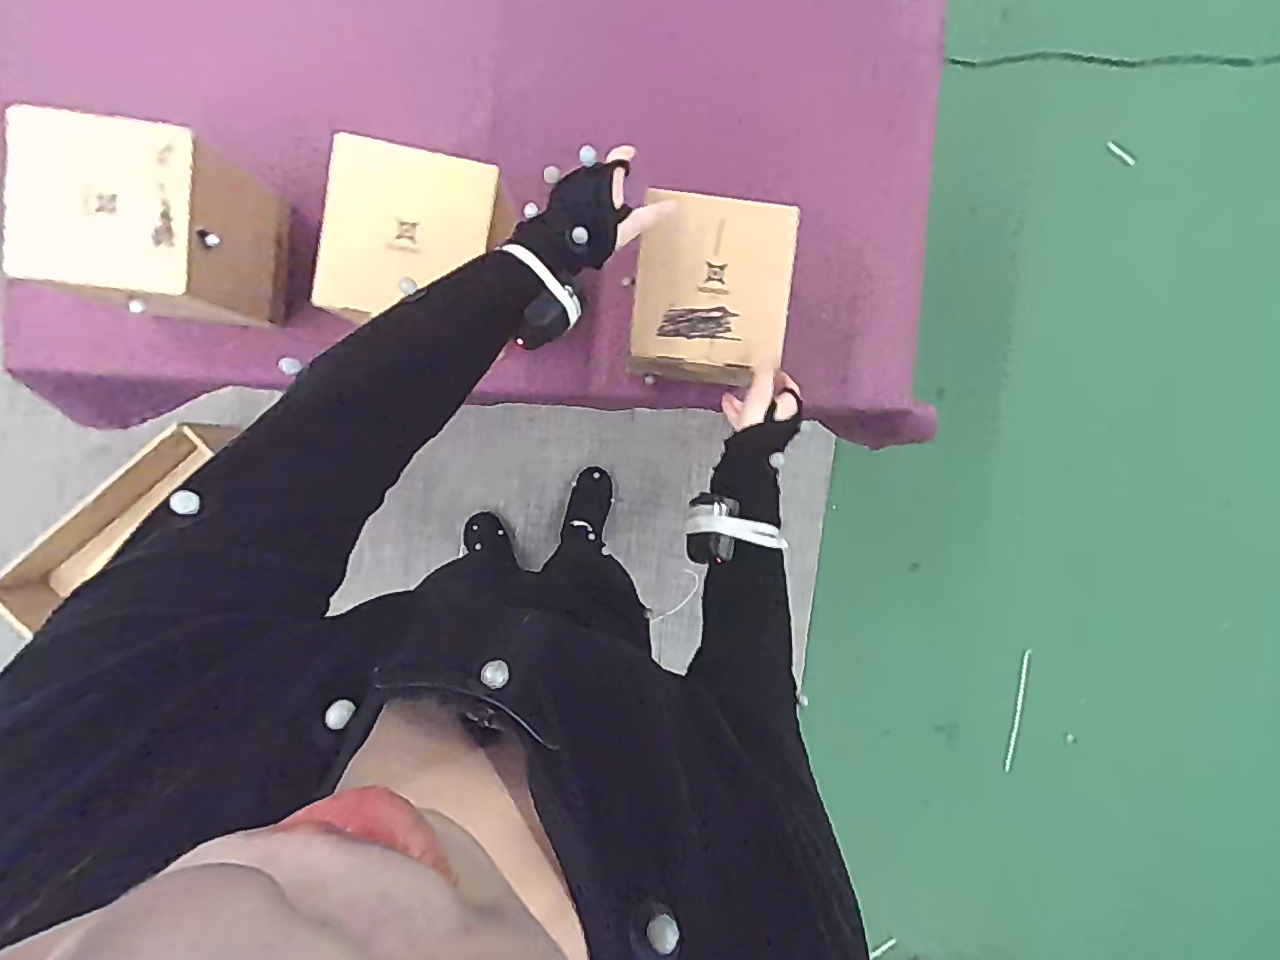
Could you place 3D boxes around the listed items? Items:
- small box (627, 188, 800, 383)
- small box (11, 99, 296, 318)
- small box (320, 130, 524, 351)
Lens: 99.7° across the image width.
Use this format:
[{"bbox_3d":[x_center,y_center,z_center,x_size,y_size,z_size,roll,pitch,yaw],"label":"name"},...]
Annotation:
[{"bbox_3d":[0.076,-0.218,0.656,0.168,0.176,0.179,7,94,-3],"label":"small box"},{"bbox_3d":[-0.537,-0.291,0.618,0.179,0.176,0.168,7,96,-3],"label":"small box"},{"bbox_3d":[-0.240,-0.263,0.638,0.168,0.176,0.179,11,96,-4],"label":"small box"}]
